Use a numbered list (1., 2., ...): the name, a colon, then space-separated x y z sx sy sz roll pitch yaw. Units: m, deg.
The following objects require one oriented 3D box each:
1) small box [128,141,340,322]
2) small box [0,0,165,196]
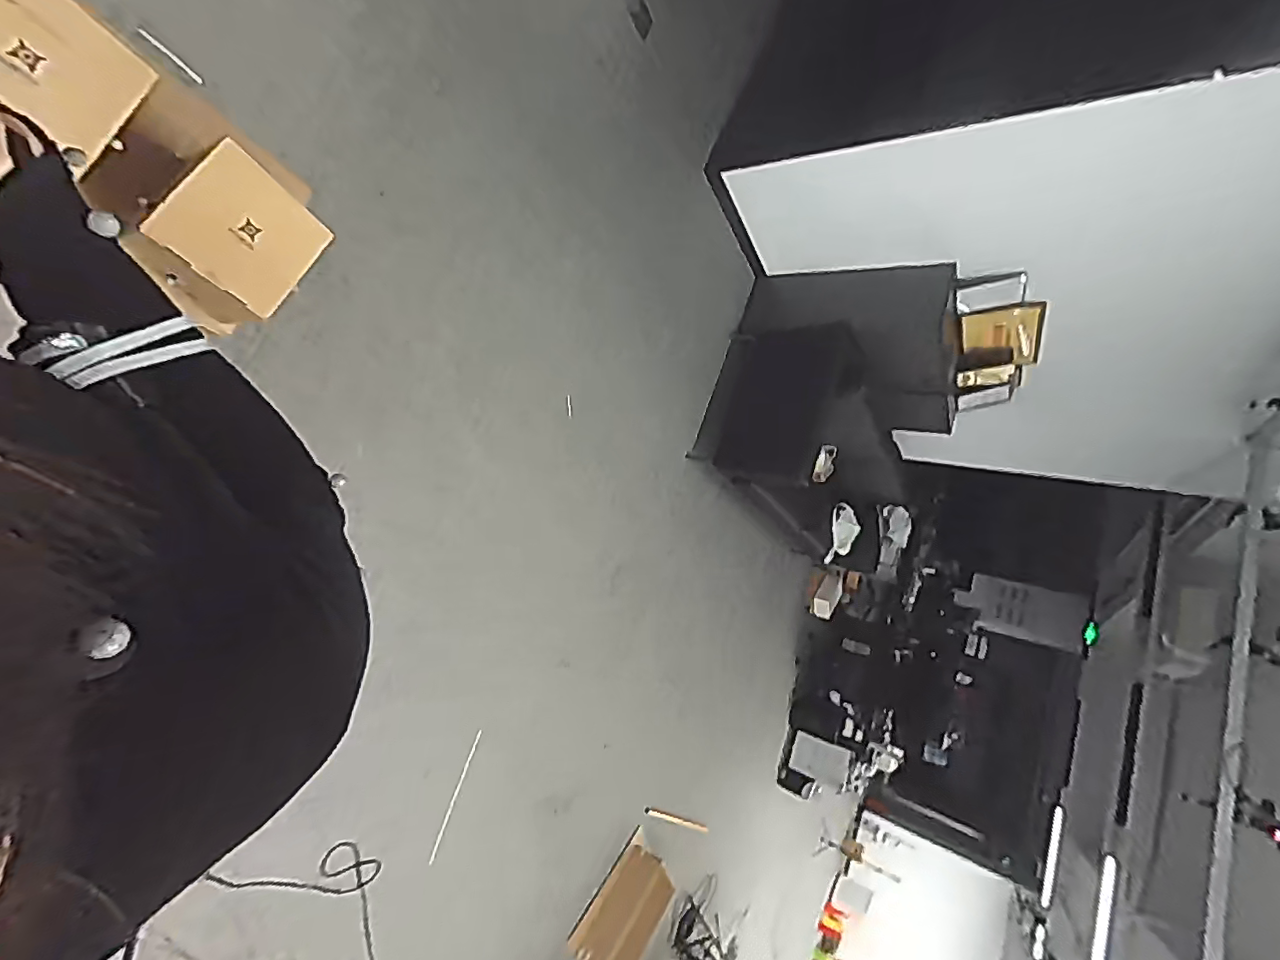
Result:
1. small box: -0.600 -0.356 0.801 0.168 0.176 0.179 45 63 -48
2. small box: -0.710 -0.458 0.621 0.168 0.176 0.179 40 67 -53
